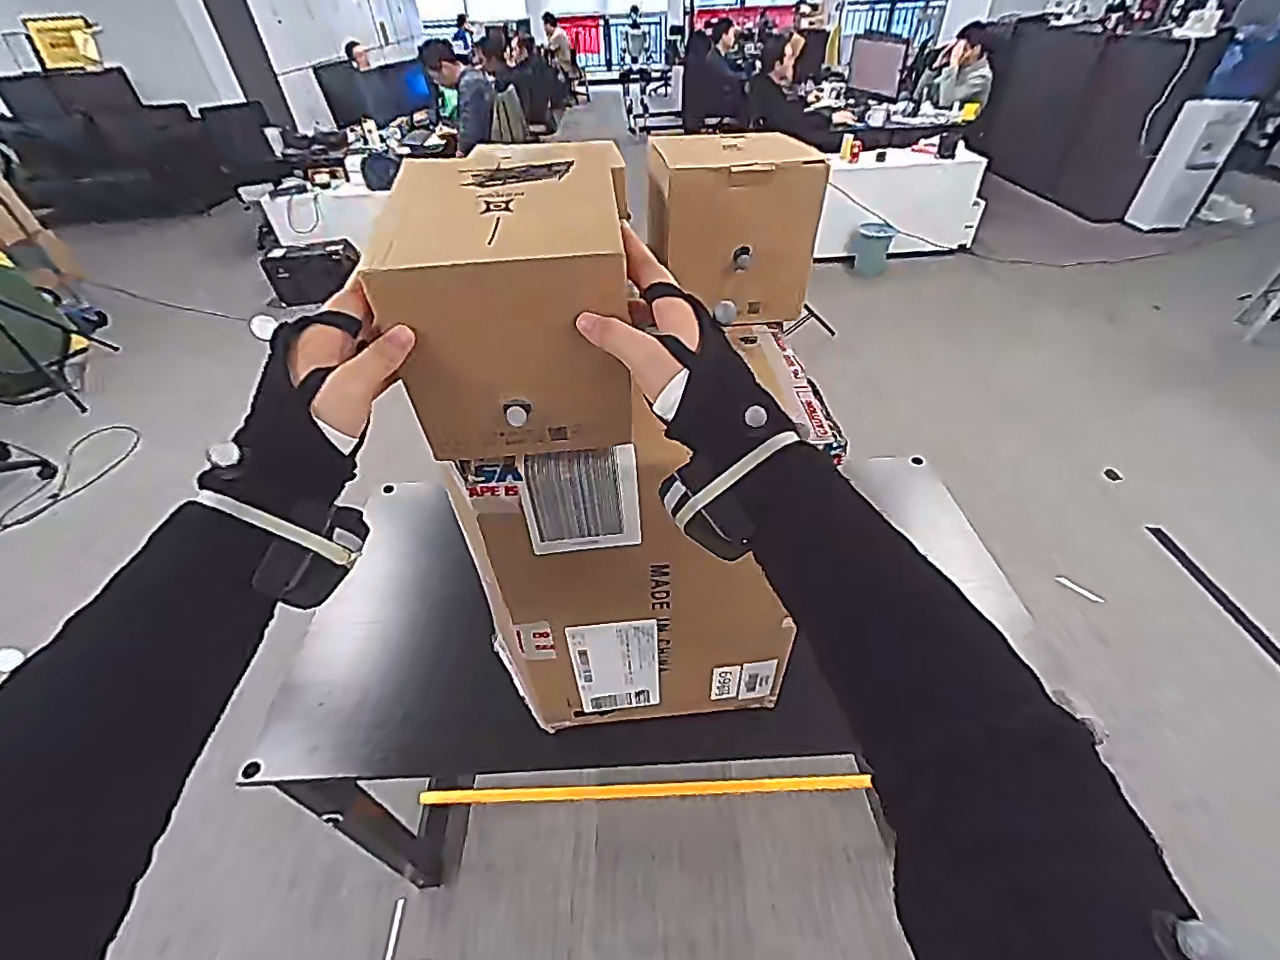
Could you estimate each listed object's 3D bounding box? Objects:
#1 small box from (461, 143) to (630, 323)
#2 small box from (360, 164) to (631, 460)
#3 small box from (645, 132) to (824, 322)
[{"bbox_3d":[-0.103,-0.285,0.639,0.168,0.176,0.179,-6,41,-5],"label":"small box"},{"bbox_3d":[-0.097,-0.139,0.448,0.168,0.176,0.179,-6,48,-3],"label":"small box"},{"bbox_3d":[0.097,-0.299,0.645,0.168,0.176,0.179,-4,42,-5],"label":"small box"}]
